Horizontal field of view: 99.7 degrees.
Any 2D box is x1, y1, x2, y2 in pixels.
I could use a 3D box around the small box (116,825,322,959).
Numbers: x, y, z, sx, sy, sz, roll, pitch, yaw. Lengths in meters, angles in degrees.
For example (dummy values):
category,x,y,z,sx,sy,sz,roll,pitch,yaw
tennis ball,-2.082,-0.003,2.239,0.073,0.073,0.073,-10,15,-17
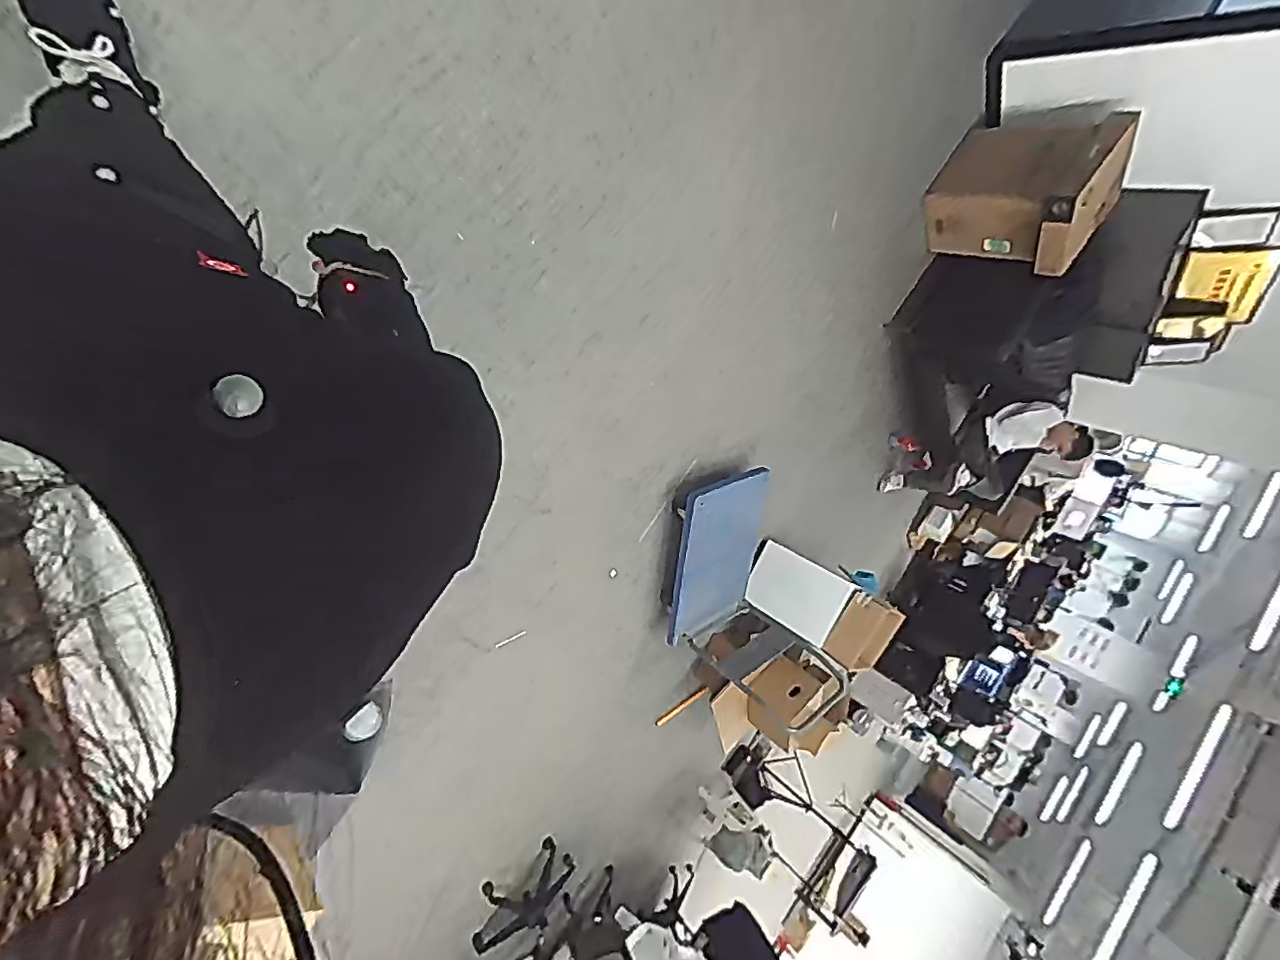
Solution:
category,x,y,z,sx,sy,sz,roll,pitch,yaw
small box,-0.629,0.649,0.807,0.168,0.176,0.179,-55,140,-7
